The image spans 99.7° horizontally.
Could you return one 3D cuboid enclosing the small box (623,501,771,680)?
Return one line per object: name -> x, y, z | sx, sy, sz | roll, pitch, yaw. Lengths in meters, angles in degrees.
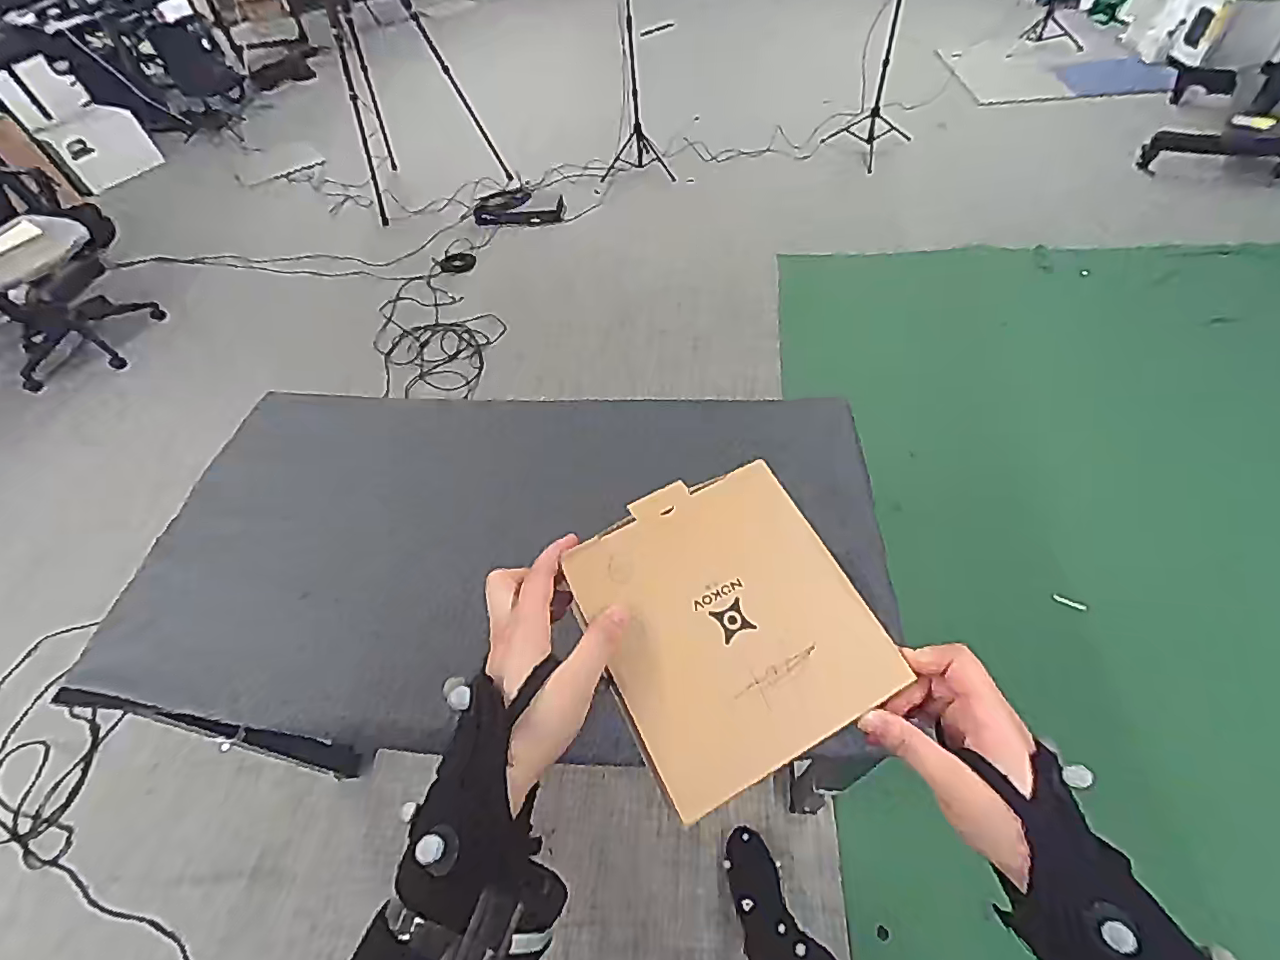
small box -> 0.079, 0.145, 0.701 | 0.168, 0.176, 0.179 | 0, 50, 8
